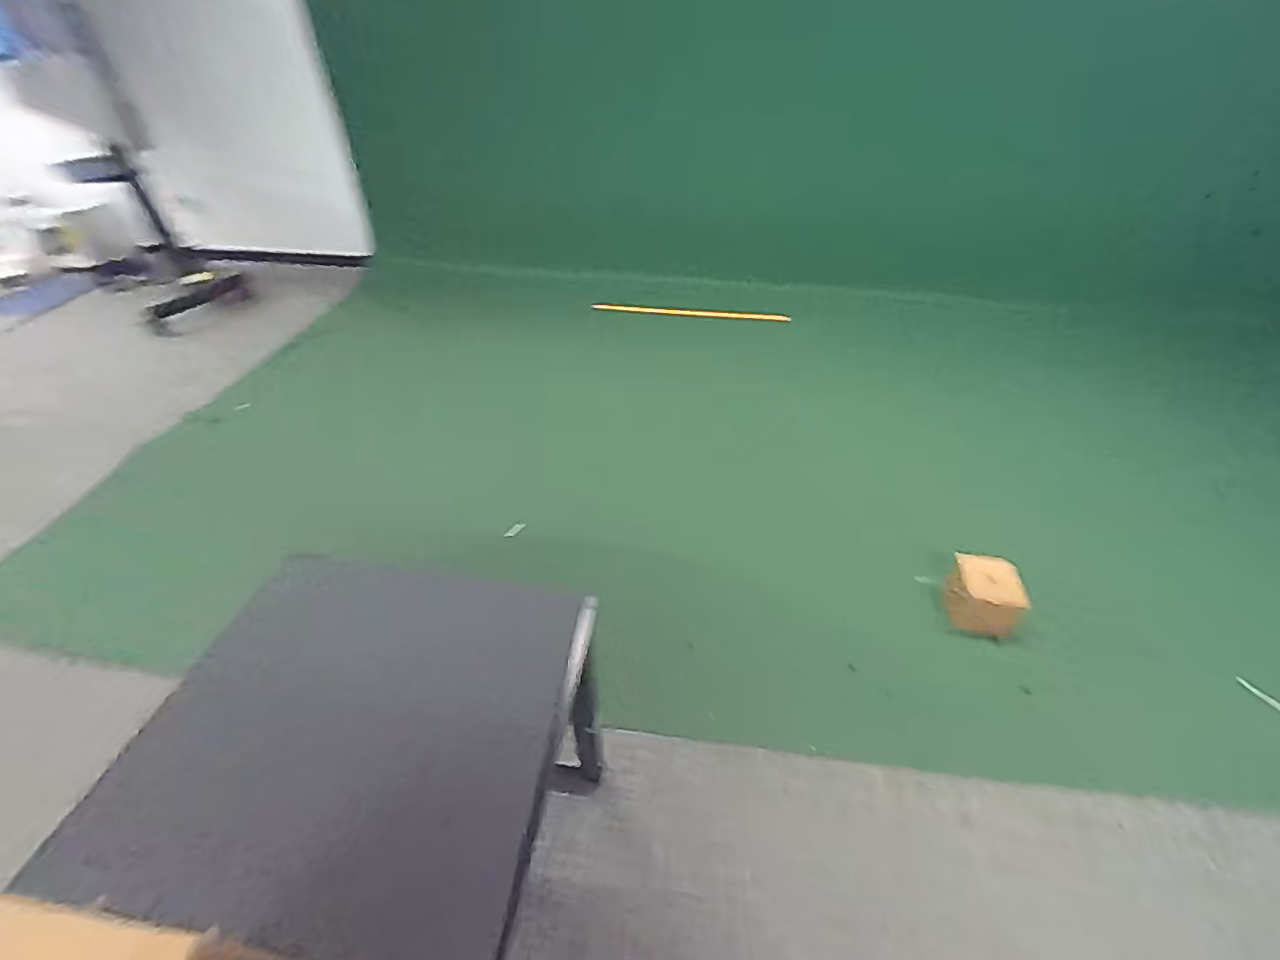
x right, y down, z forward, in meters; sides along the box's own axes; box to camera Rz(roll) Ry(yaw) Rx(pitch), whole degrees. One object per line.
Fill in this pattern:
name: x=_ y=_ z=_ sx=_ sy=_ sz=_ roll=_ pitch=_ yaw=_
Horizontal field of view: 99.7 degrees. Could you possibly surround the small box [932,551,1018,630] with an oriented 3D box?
small box: x=1.084 y=0.362 z=1.766 sx=0.168 sy=0.176 sz=0.179 roll=7 pitch=43 yaw=6
